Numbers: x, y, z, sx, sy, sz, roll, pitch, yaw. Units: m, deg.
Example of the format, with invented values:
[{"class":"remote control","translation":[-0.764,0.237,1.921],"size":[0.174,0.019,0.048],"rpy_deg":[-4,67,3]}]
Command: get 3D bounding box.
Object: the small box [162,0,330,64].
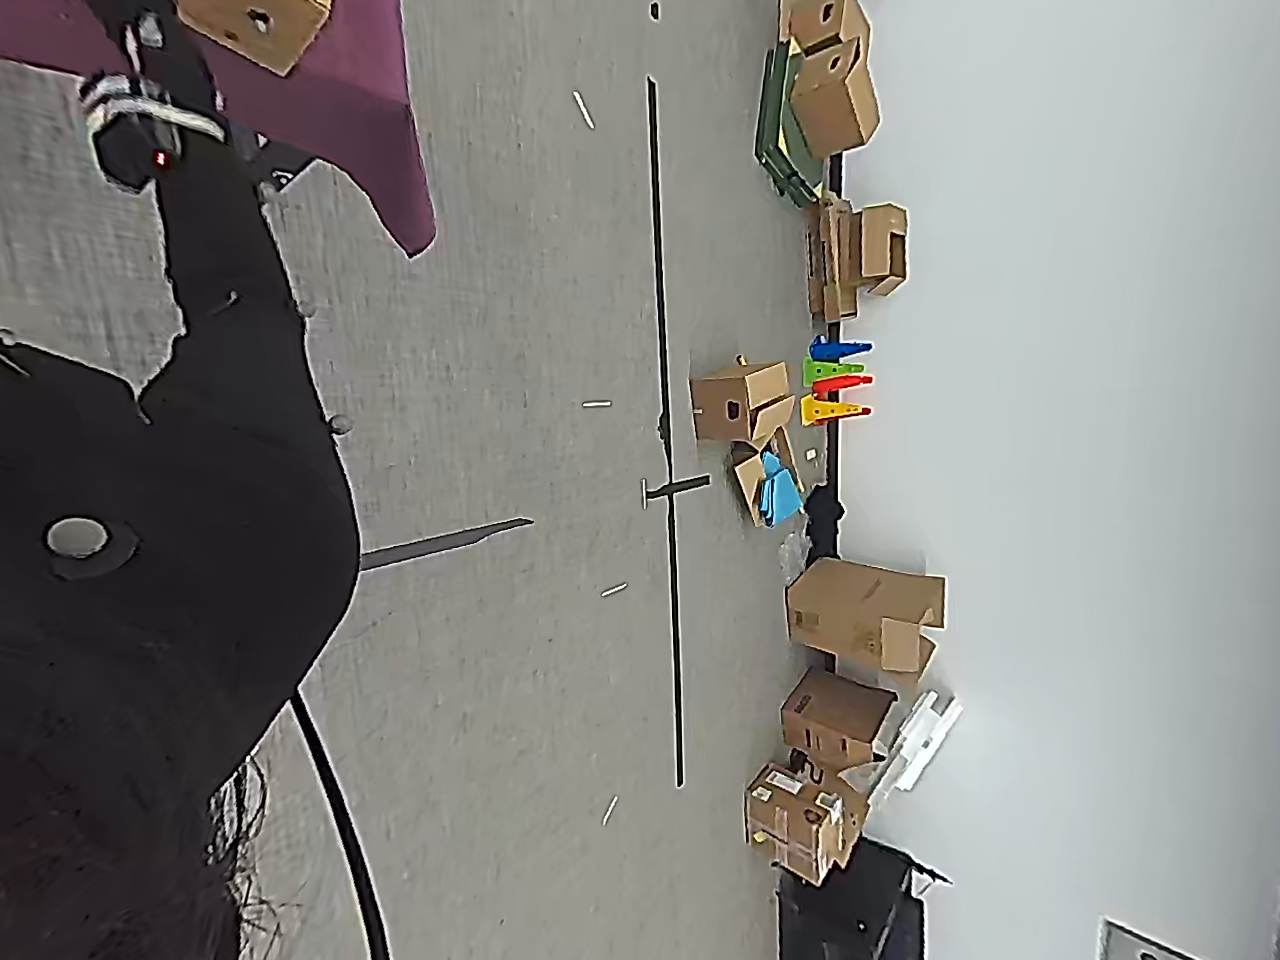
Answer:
[{"class":"small box","translation":[-0.441,-0.603,0.574],"size":[0.168,0.176,0.179],"rpy_deg":[5,89,-51]}]
